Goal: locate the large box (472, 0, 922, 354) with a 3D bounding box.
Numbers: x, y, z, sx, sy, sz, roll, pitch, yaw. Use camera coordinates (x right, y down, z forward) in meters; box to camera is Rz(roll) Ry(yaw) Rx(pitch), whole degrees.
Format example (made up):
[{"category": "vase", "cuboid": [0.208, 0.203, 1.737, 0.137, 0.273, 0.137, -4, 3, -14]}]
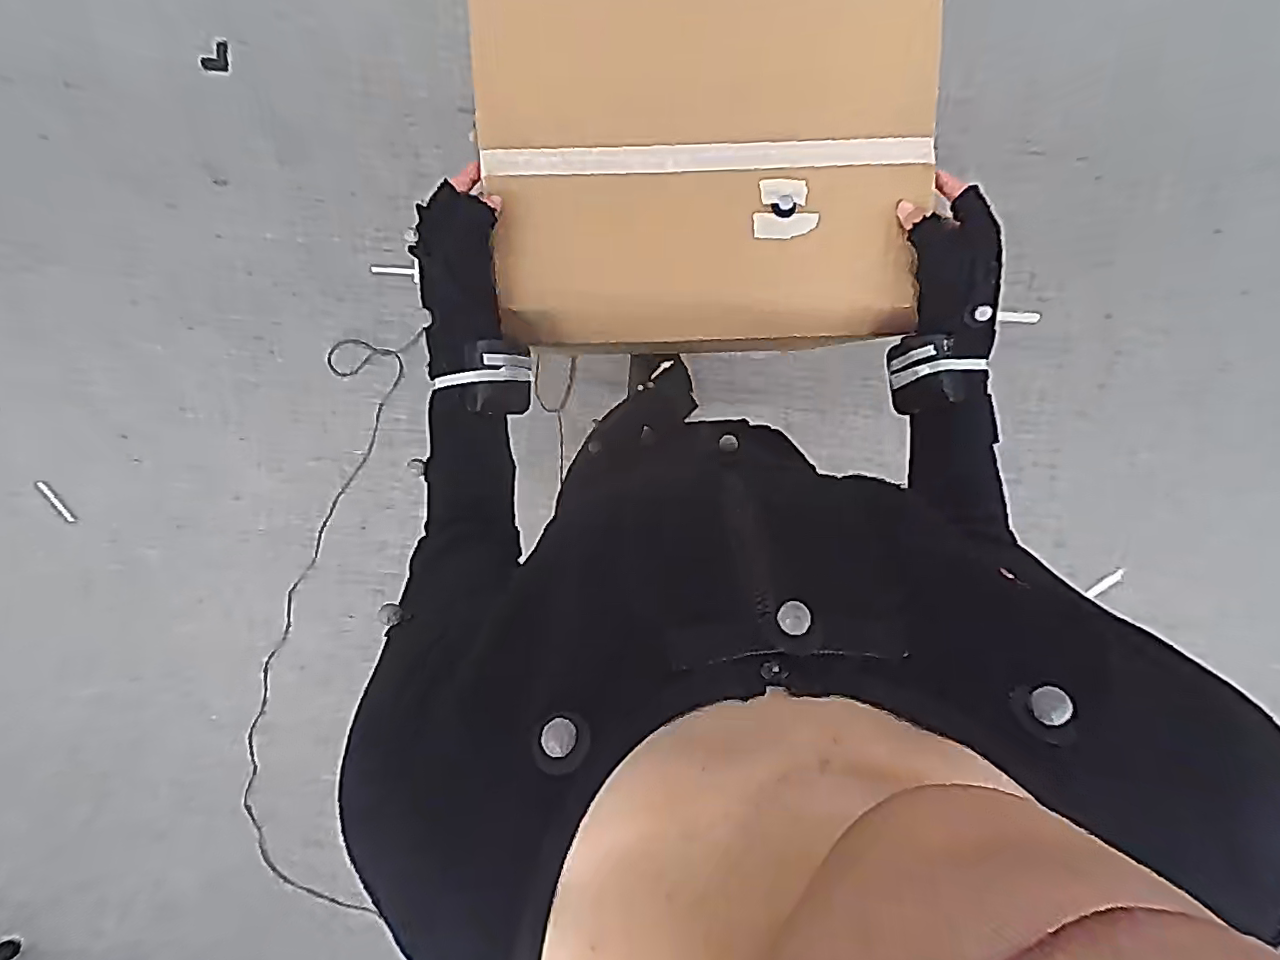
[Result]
[{"category": "large box", "cuboid": [0.052, -0.324, 0.642, 0.408, 0.320, 0.320, -2, 101, -1]}]
